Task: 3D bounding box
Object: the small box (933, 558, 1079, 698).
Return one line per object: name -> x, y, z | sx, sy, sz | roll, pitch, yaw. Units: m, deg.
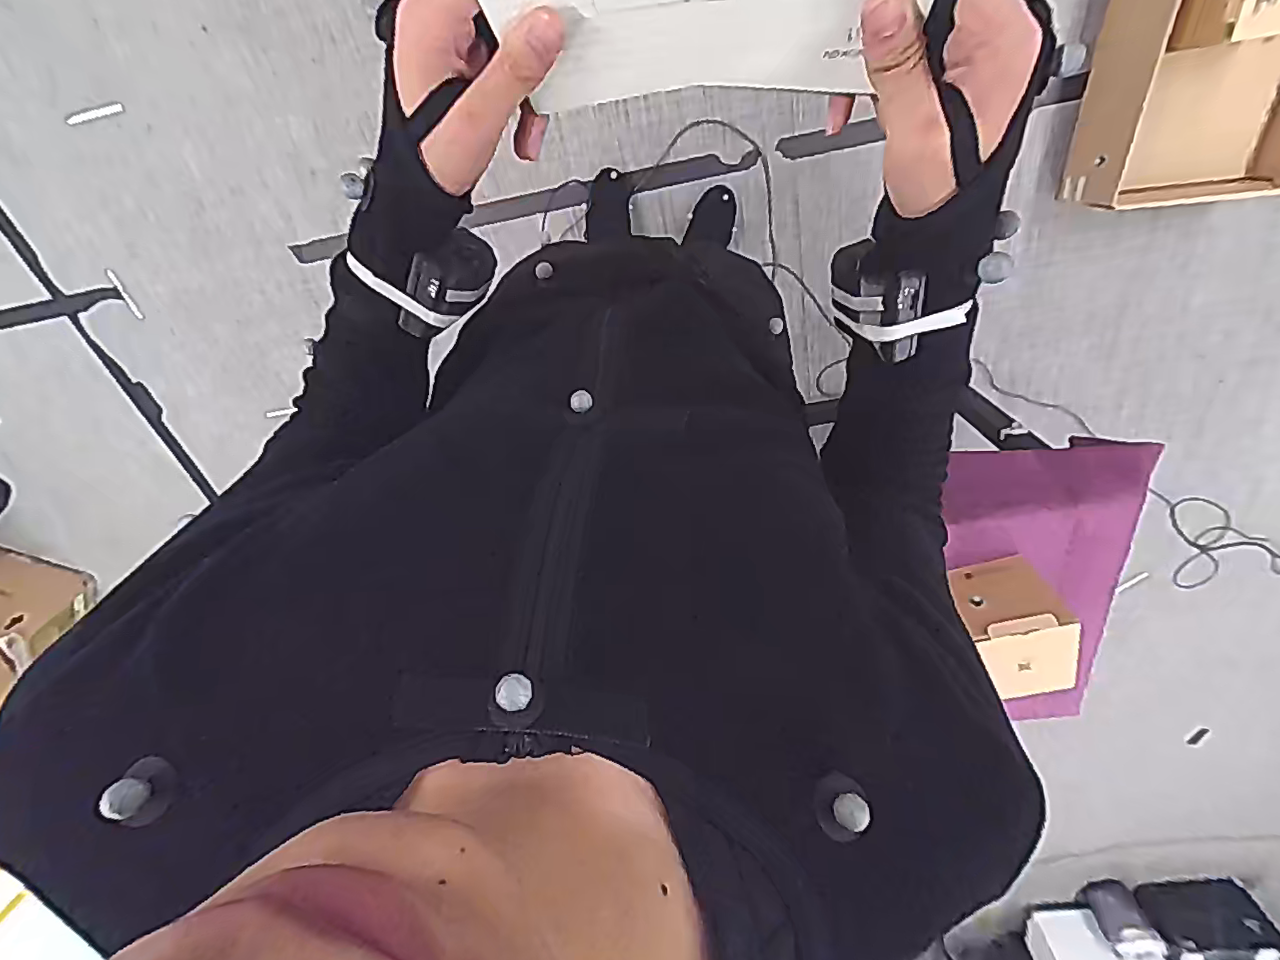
small box -> 0.653, 0.261, 0.985 | 0.168, 0.176, 0.179 | -16, 121, 12
